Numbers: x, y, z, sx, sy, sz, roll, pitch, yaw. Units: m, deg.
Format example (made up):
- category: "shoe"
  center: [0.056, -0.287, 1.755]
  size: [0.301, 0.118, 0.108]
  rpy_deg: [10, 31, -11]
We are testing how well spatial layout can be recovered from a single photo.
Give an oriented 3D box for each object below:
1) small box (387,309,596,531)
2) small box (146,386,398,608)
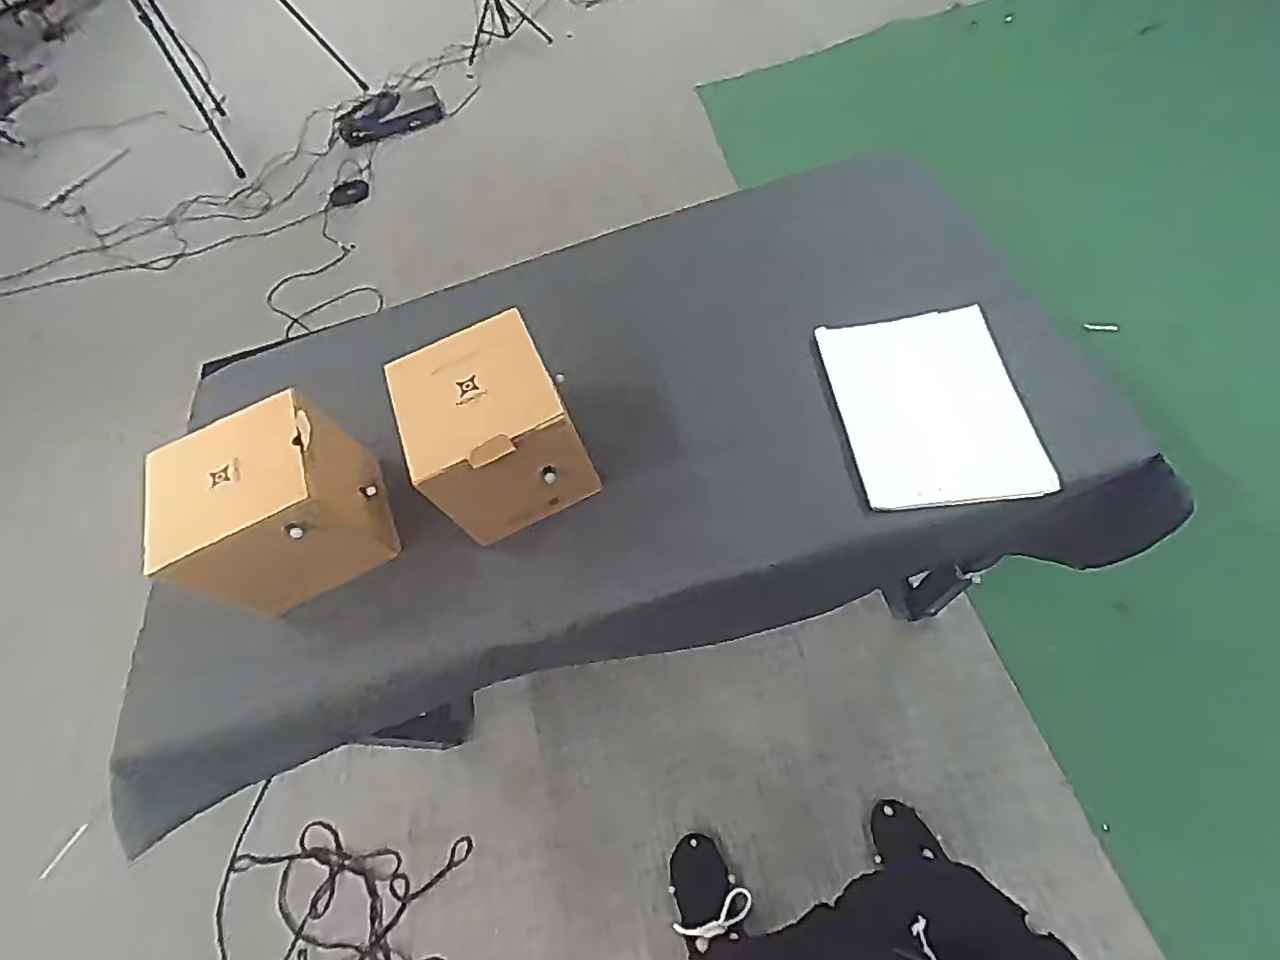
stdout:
- category: "small box"
  center: [-0.167, -0.059, 0.641]
  size: [0.168, 0.176, 0.179]
  rpy_deg: [-25, 59, -4]
- category: "small box"
  center: [-0.424, 0.028, 0.643]
  size: [0.179, 0.176, 0.168]
  rpy_deg: [-27, 60, -5]
